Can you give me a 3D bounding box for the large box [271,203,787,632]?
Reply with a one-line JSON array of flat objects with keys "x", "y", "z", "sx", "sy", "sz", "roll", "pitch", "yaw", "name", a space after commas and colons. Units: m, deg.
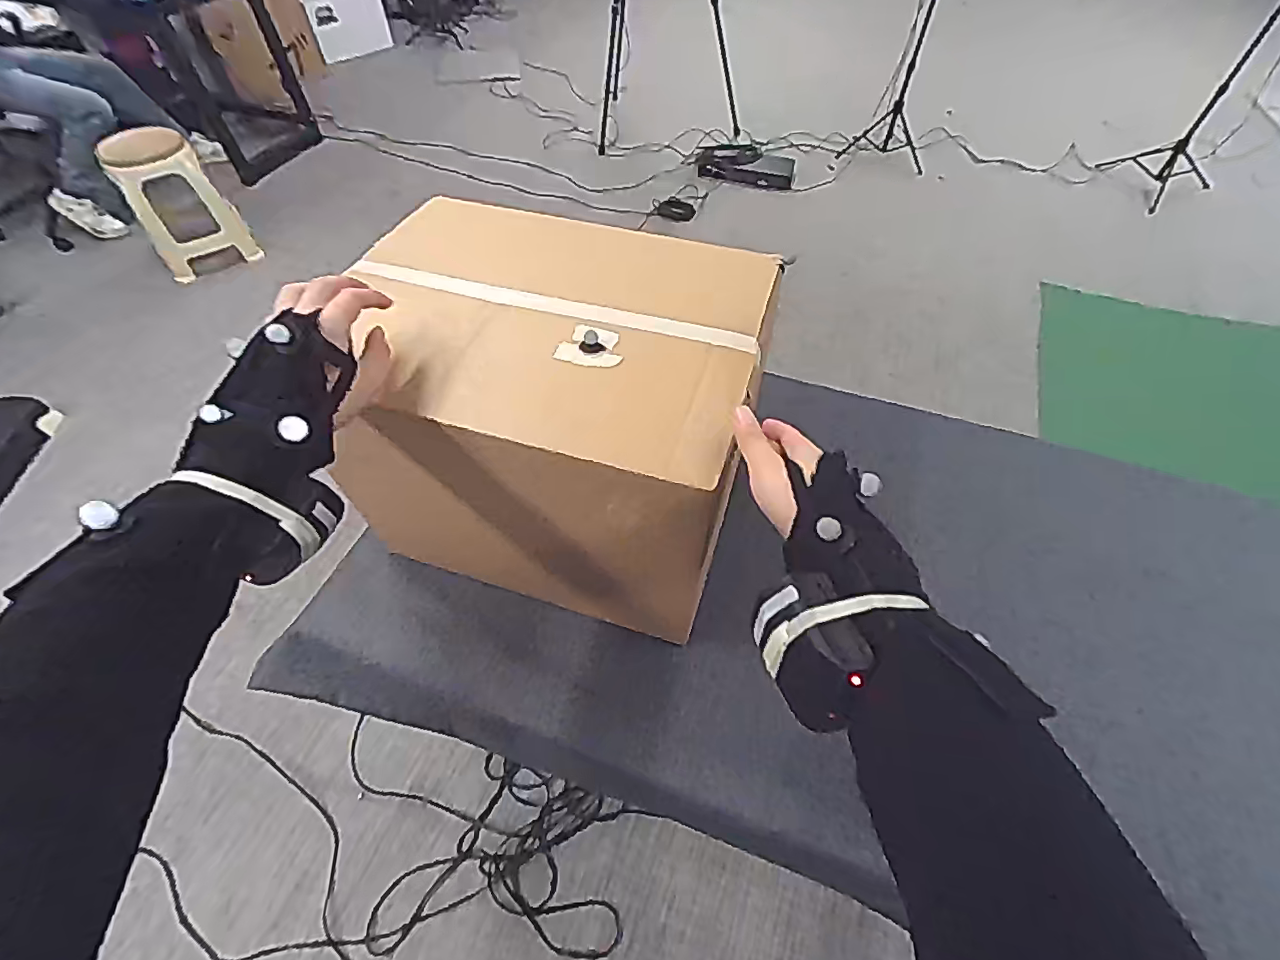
[{"x": -0.084, "y": -0.069, "z": 0.627, "sx": 0.408, "sy": 0.320, "sz": 0.320, "roll": 15, "pitch": 55, "yaw": 9, "name": "large box"}]
